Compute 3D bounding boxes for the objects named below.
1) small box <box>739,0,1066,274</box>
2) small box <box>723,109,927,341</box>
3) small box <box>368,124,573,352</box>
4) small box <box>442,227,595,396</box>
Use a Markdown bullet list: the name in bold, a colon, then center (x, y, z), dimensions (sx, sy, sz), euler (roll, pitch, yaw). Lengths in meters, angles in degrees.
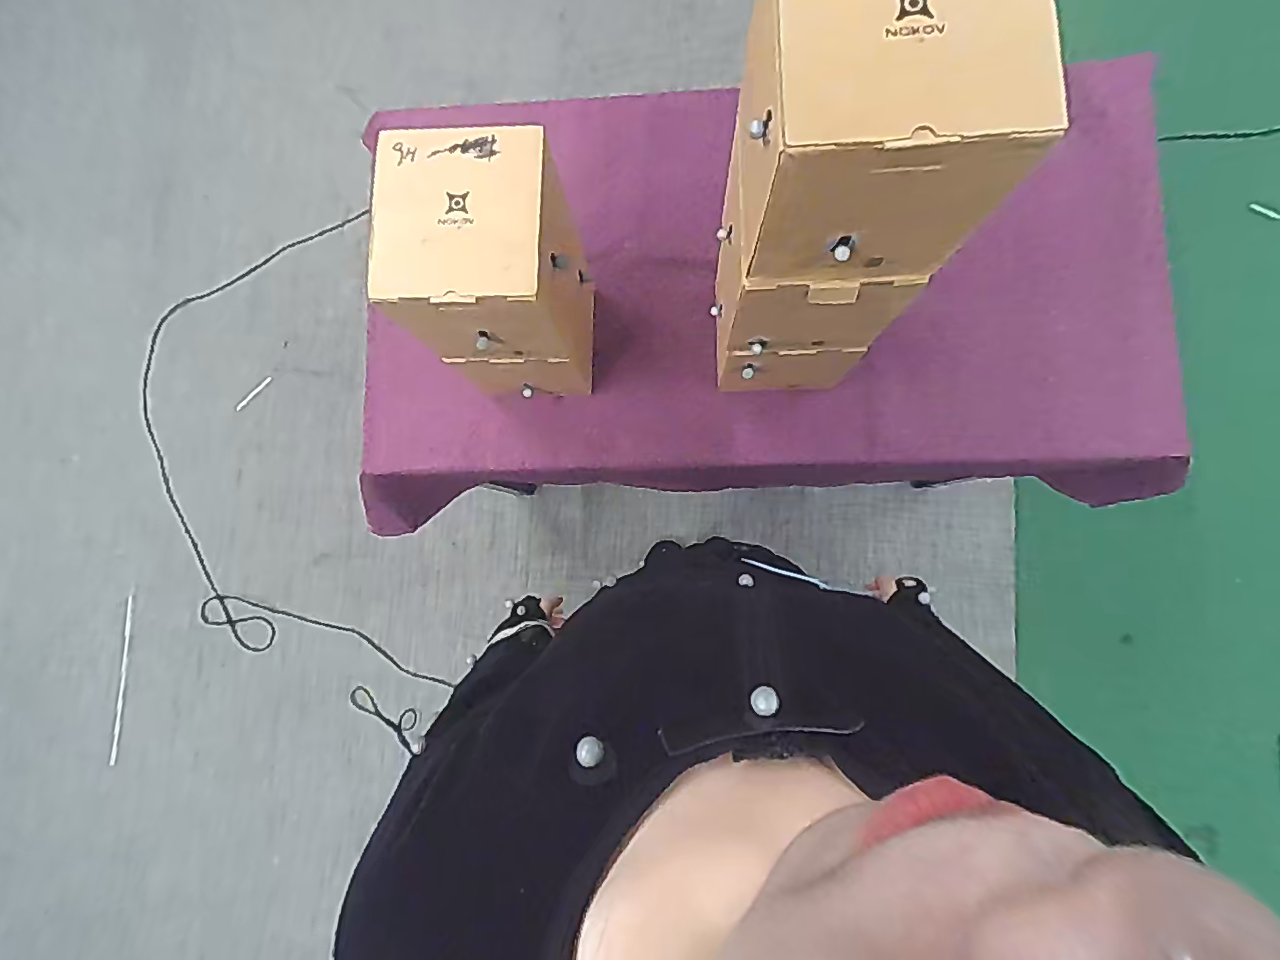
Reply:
- **small box**: center (0.169, -0.280, 0.407), dimensions (0.168, 0.176, 0.179), euler (-2, 84, 4)
- **small box**: center (0.177, -0.254, 0.568), dimensions (0.168, 0.176, 0.179), euler (-1, 83, 4)
- **small box**: center (-0.169, -0.245, 0.590), dimensions (0.168, 0.176, 0.179), euler (0, 85, 3)
- **small box**: center (-0.158, -0.224, 0.753), dimensions (0.168, 0.176, 0.179), euler (0, 84, 4)
